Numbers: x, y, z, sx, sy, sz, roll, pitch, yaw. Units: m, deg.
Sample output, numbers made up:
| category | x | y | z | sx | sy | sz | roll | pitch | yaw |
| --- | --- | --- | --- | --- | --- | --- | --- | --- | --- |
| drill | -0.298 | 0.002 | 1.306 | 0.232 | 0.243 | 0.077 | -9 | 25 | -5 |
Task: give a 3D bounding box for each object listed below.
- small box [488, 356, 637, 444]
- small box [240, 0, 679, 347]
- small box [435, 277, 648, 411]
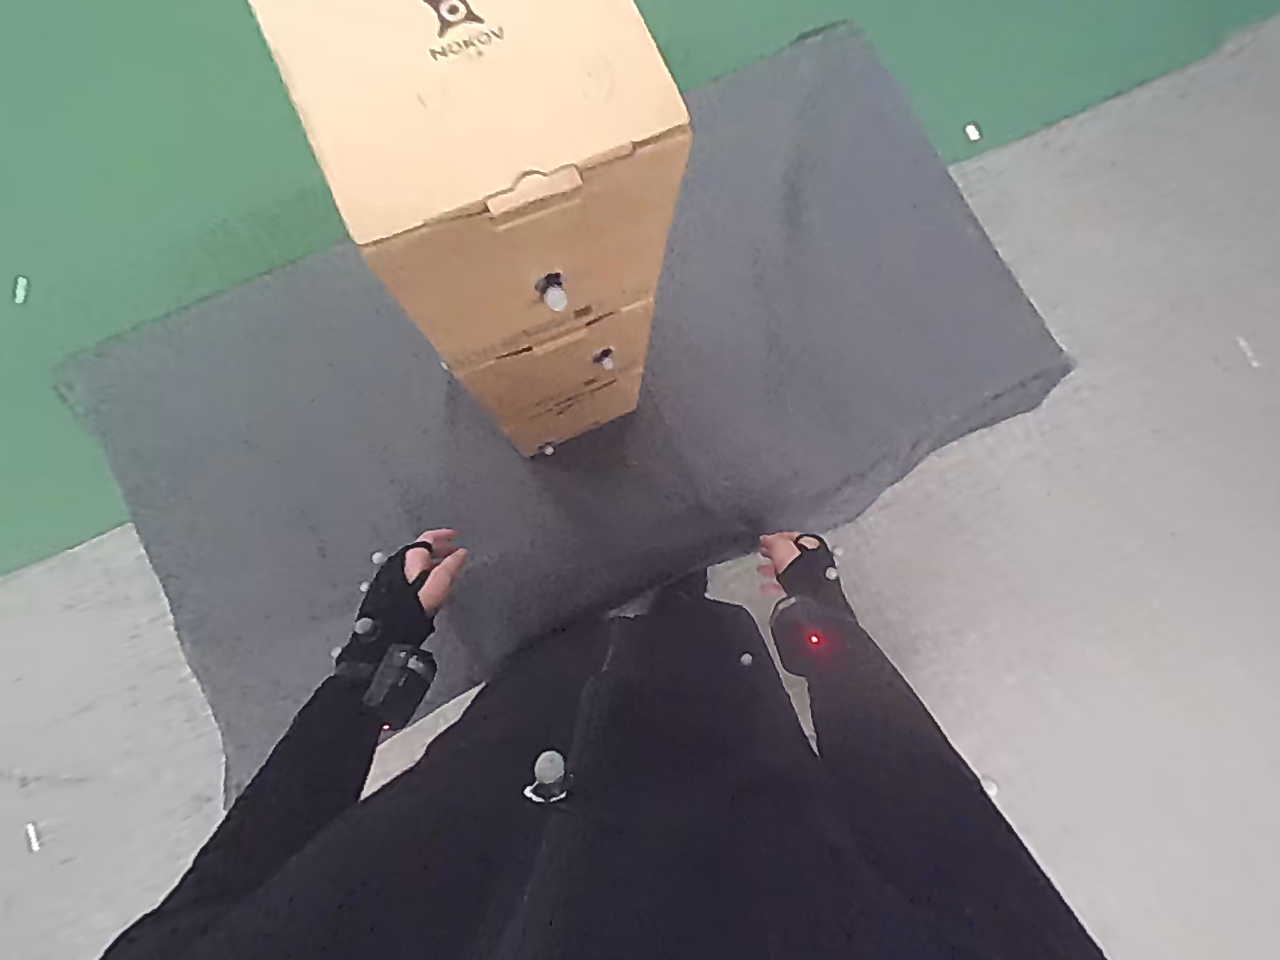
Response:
| category | x | y | z | sx | sy | sz | roll | pitch | yaw |
| --- | --- | --- | --- | --- | --- | --- | --- | --- | --- |
| small box | -0.113 | -0.154 | 0.648 | 0.168 | 0.176 | 0.179 | -25 | 85 | -6 |
| small box | -0.094 | -0.199 | 0.325 | 0.168 | 0.176 | 0.179 | -24 | 86 | -8 |
| small box | -0.105 | -0.176 | 0.488 | 0.168 | 0.176 | 0.179 | -24 | 84 | -7 |
